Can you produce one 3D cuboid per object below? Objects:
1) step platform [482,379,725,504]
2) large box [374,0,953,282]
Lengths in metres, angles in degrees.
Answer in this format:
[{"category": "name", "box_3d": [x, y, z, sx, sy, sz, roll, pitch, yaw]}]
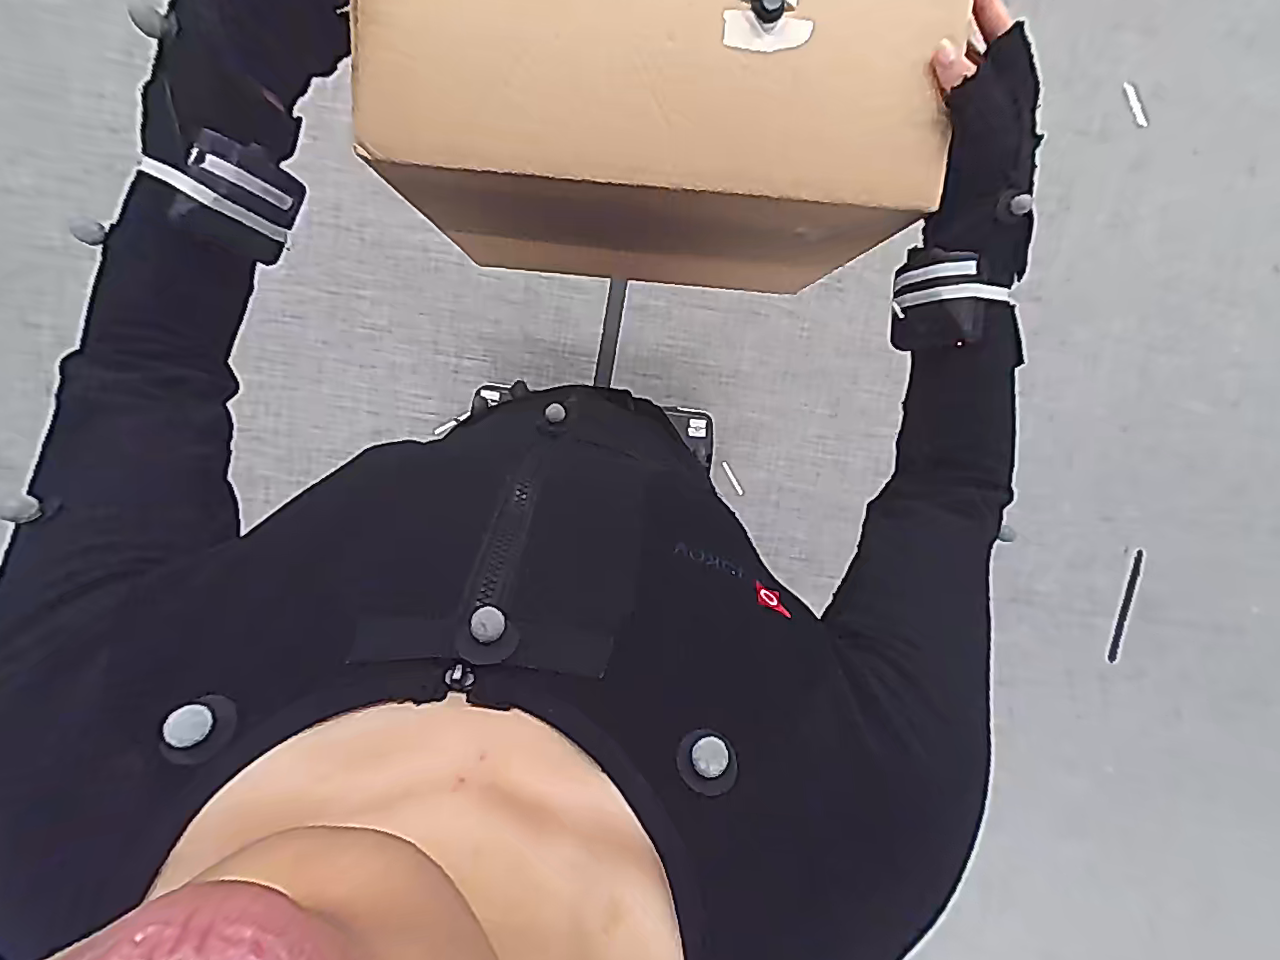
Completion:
[{"category": "step platform", "box_3d": [-0.102, -0.111, 1.561, 0.684, 0.204, 0.286, 7, 98, -4]}, {"category": "large box", "box_3d": [0.015, -0.389, 0.510, 0.408, 0.320, 0.320, 4, 99, -3]}]
